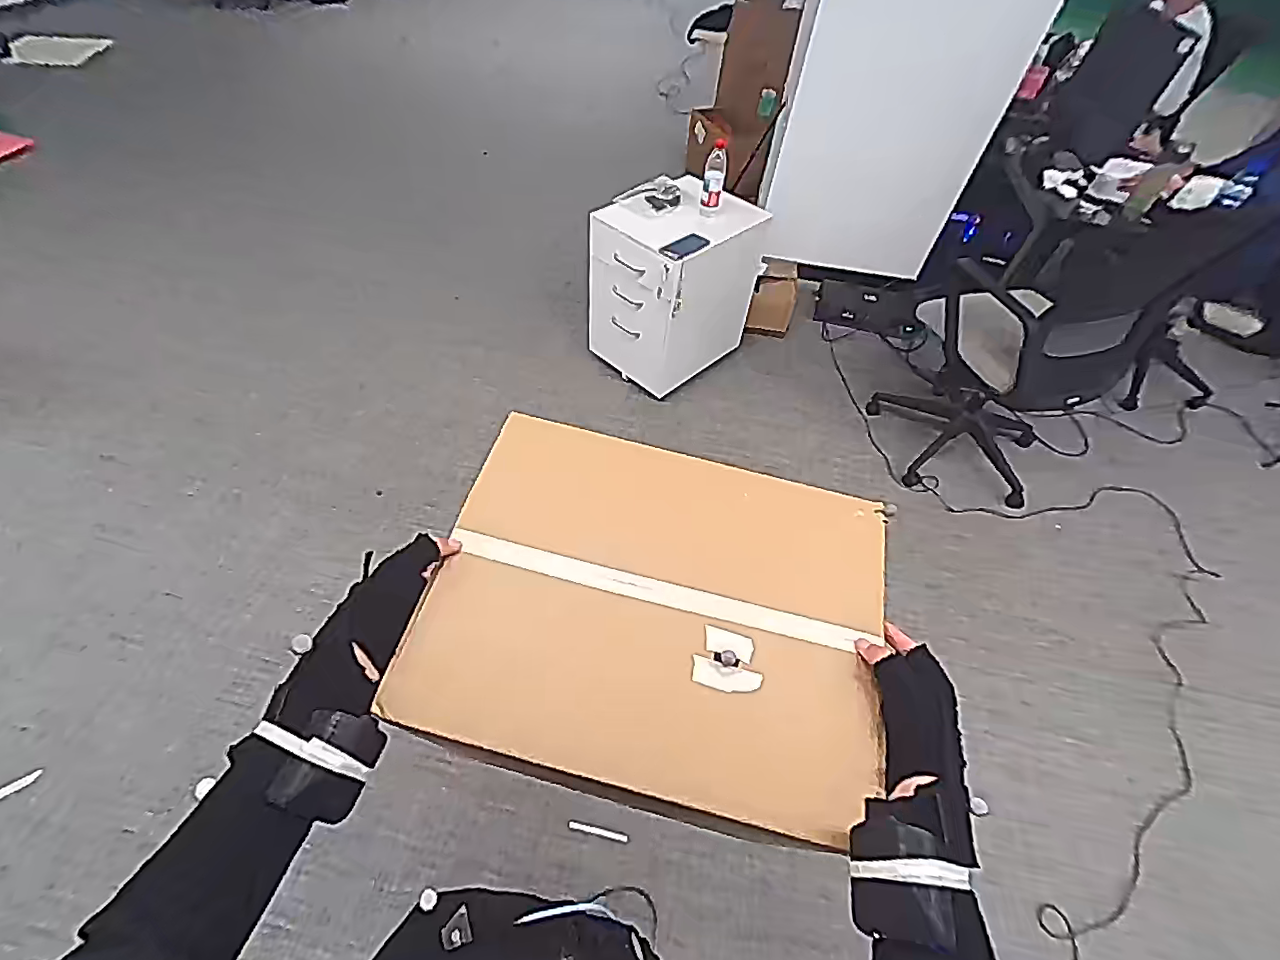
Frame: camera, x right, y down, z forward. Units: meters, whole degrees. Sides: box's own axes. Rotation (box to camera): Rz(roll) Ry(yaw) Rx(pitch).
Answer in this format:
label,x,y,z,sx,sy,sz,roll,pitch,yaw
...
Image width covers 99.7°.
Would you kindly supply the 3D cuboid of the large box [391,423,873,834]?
label,x,y,z,sx,sy,sz,roll,pitch,yaw
large box,0.005,0.183,0.631,0.408,0.320,0.320,14,59,2
